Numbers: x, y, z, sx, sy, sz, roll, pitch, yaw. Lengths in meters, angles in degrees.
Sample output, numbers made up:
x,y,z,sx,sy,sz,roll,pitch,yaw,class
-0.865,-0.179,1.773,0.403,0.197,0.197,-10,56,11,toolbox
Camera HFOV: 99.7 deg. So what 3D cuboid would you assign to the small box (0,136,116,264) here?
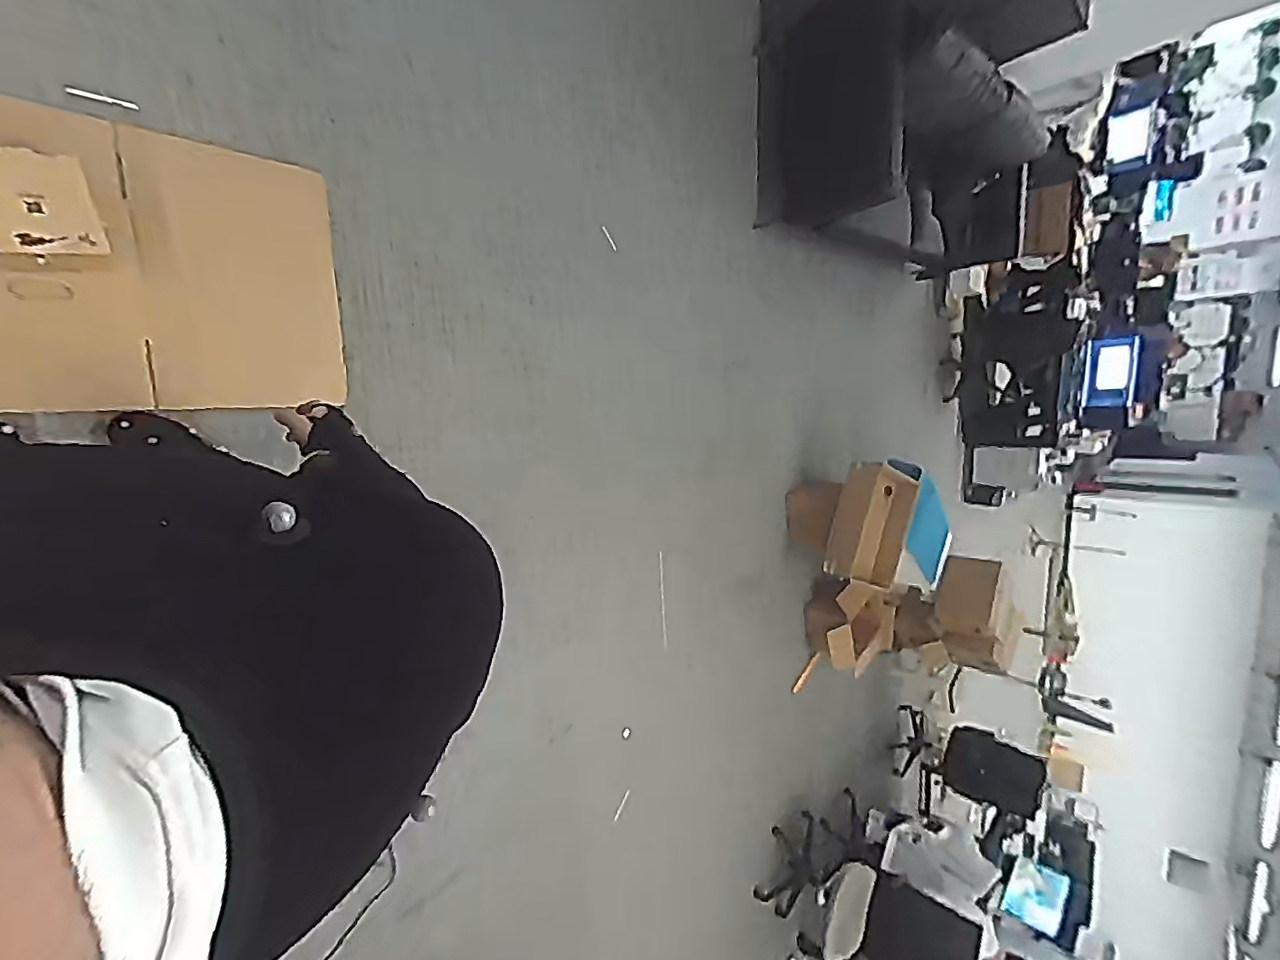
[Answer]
x,y,z,sx,sy,sz,roll,pitch,yaw,class
-1.135,-0.522,1.027,0.168,0.176,0.179,-19,108,-41,small box
